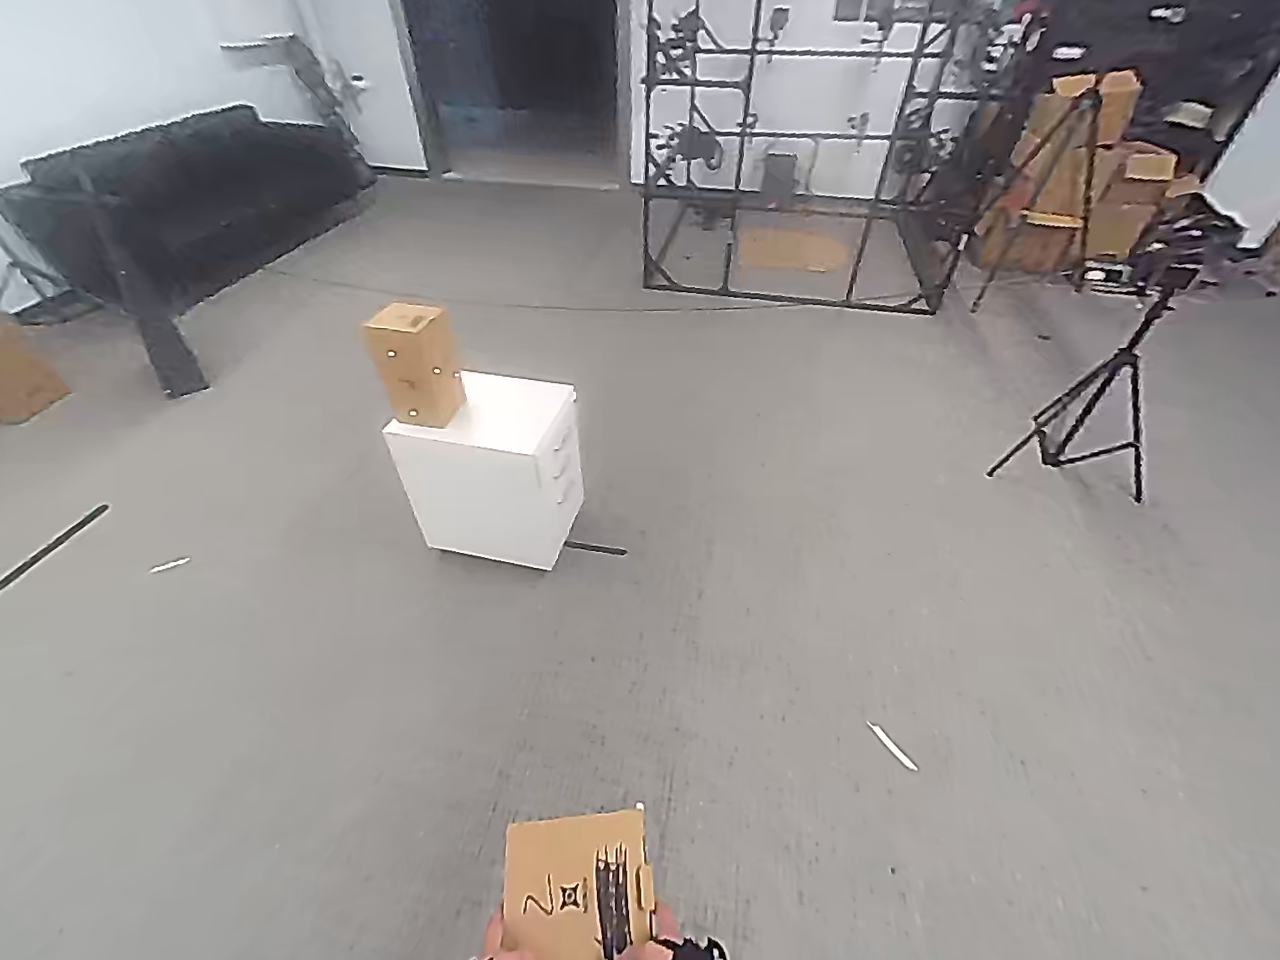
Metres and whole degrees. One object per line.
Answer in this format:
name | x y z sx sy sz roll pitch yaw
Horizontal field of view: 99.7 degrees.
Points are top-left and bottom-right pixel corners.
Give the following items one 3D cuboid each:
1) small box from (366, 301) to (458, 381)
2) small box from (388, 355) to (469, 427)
small box | -0.668 -0.413 1.613 0.179 0.176 0.168 9 43 10
small box | -0.666 -0.295 1.728 0.168 0.176 0.179 9 43 9
